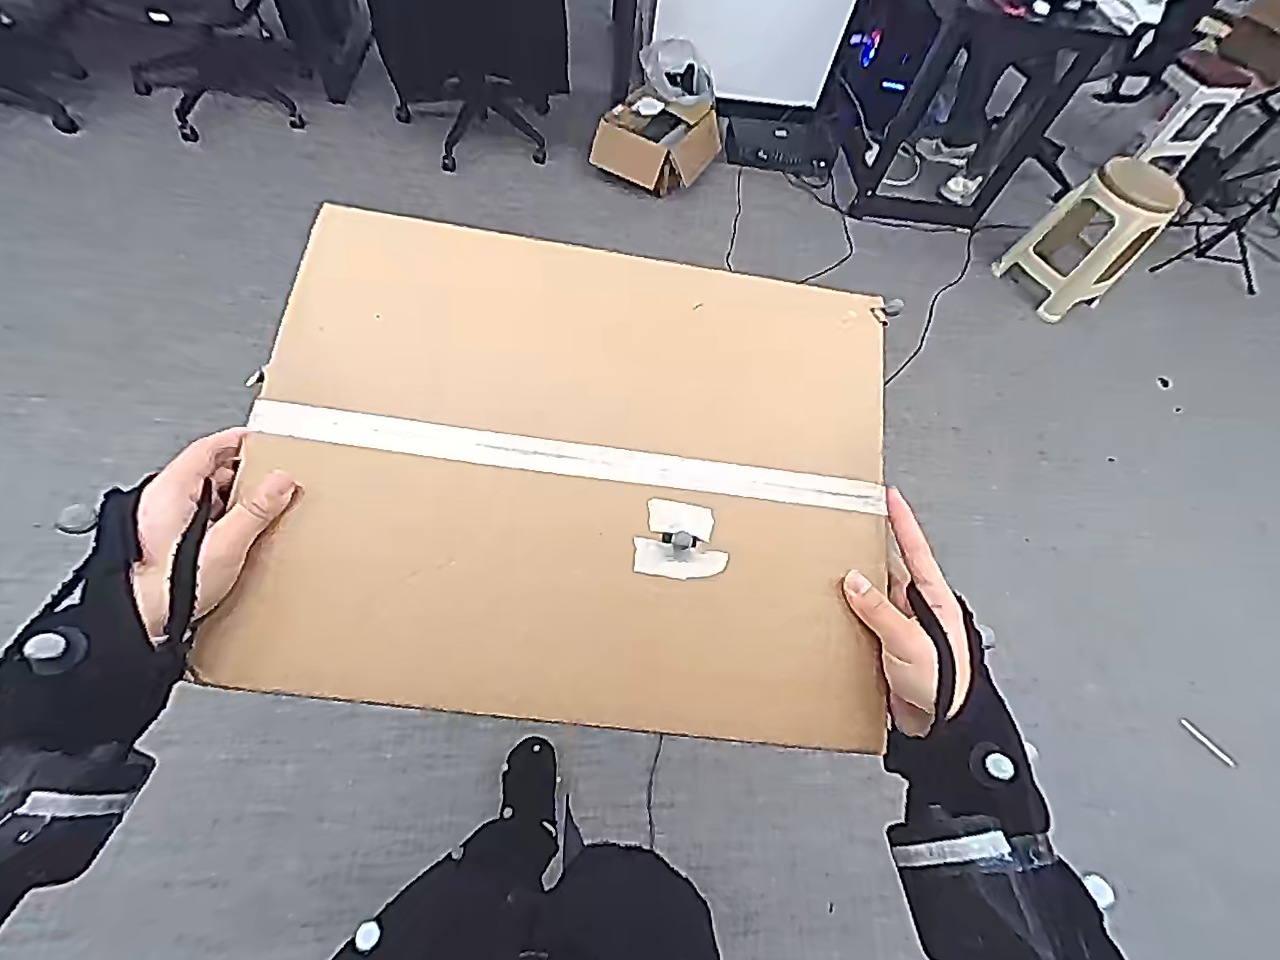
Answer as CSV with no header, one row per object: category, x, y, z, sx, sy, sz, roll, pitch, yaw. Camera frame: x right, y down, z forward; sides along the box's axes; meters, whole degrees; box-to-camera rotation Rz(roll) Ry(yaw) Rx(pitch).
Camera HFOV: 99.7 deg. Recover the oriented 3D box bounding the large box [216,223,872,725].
large box,-0.052,0.021,0.507,0.408,0.320,0.320,8,76,-5
